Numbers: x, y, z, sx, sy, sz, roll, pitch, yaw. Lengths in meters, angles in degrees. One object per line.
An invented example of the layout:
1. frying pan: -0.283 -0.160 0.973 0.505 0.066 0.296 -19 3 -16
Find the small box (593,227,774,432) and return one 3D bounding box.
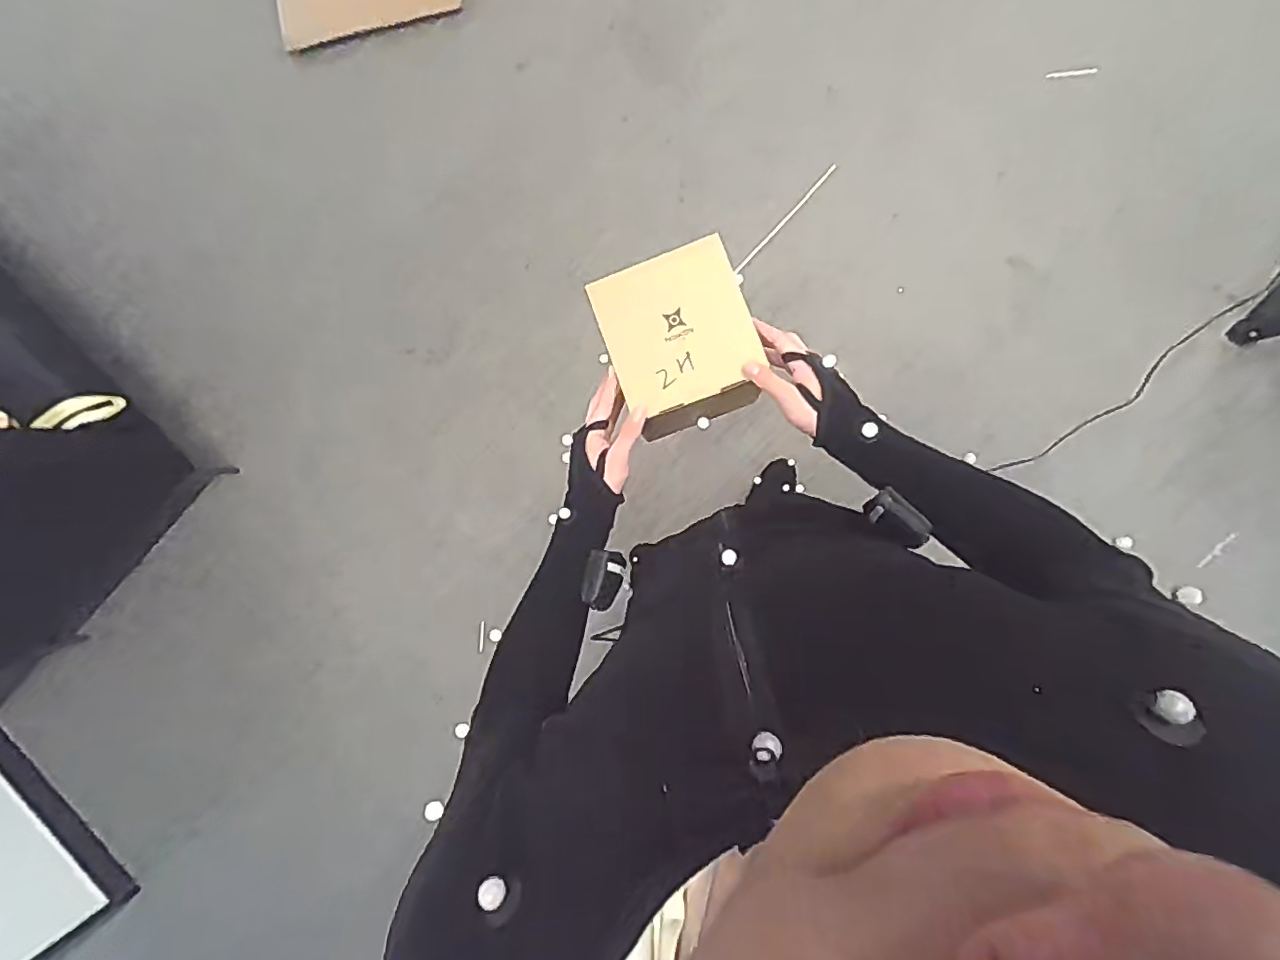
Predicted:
1. small box: 0.054 -0.175 0.687 0.168 0.176 0.179 -19 85 6
